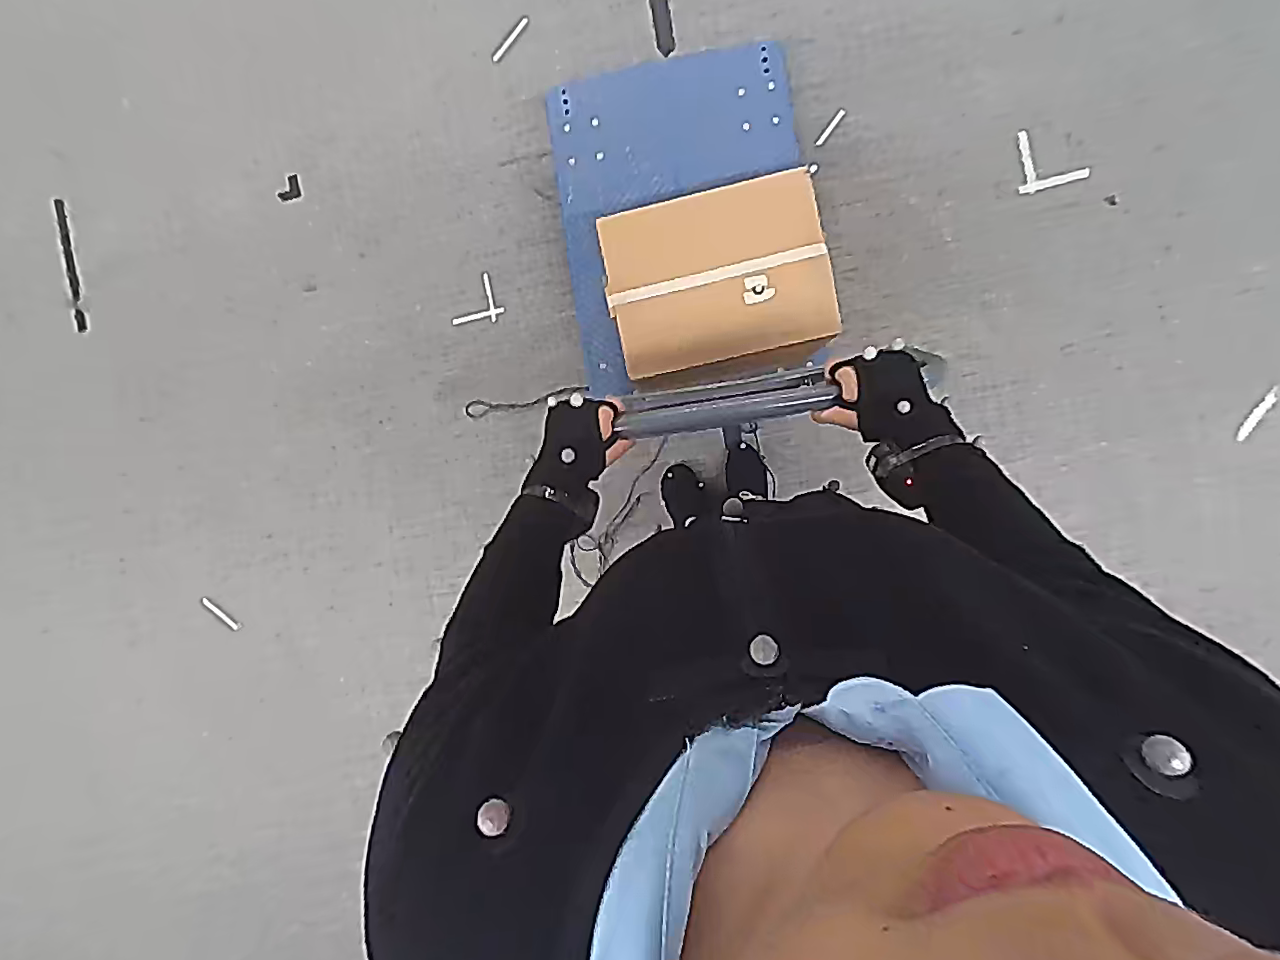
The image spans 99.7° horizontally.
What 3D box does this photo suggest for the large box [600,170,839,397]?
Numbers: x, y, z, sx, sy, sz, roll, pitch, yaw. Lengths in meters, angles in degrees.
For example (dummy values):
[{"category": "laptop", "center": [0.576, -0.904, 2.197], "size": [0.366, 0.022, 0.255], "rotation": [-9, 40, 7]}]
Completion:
[{"category": "large box", "center": [0.156, -0.388, 1.168], "size": [0.408, 0.320, 0.320], "rotation": [-12, 92, 4]}]
